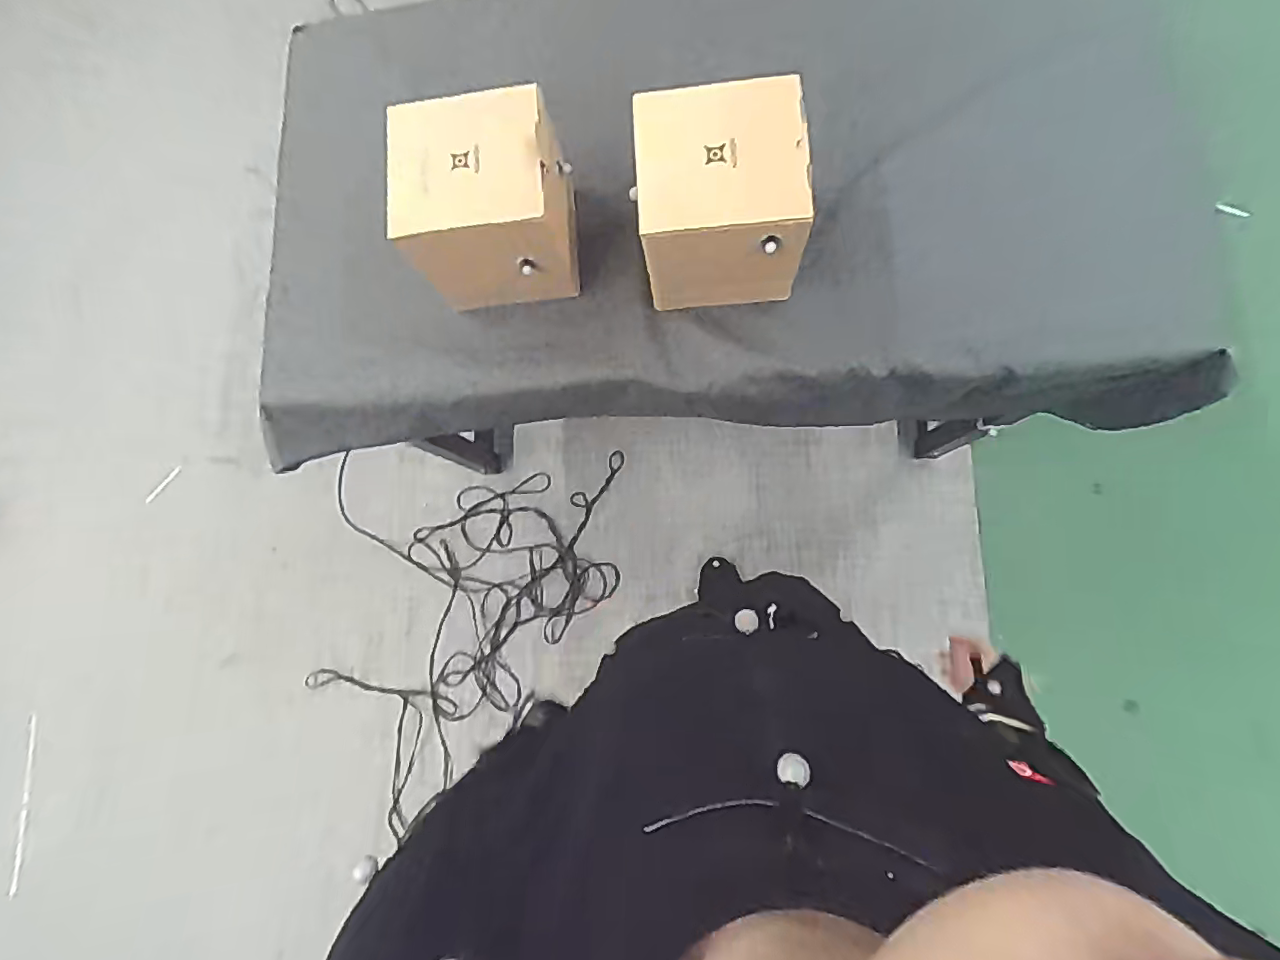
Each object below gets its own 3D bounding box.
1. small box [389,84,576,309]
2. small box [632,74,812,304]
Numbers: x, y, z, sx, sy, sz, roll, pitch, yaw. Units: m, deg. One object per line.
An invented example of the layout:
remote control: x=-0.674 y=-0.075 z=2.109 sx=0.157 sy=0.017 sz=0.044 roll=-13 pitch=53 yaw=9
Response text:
small box: x=-0.179 y=-0.331 z=0.661 sx=0.179 sy=0.176 sz=0.168 roll=-6 pitch=79 yaw=6
small box: x=0.089 y=-0.321 z=0.631 sx=0.179 sy=0.176 sz=0.168 roll=-4 pitch=80 yaw=5
